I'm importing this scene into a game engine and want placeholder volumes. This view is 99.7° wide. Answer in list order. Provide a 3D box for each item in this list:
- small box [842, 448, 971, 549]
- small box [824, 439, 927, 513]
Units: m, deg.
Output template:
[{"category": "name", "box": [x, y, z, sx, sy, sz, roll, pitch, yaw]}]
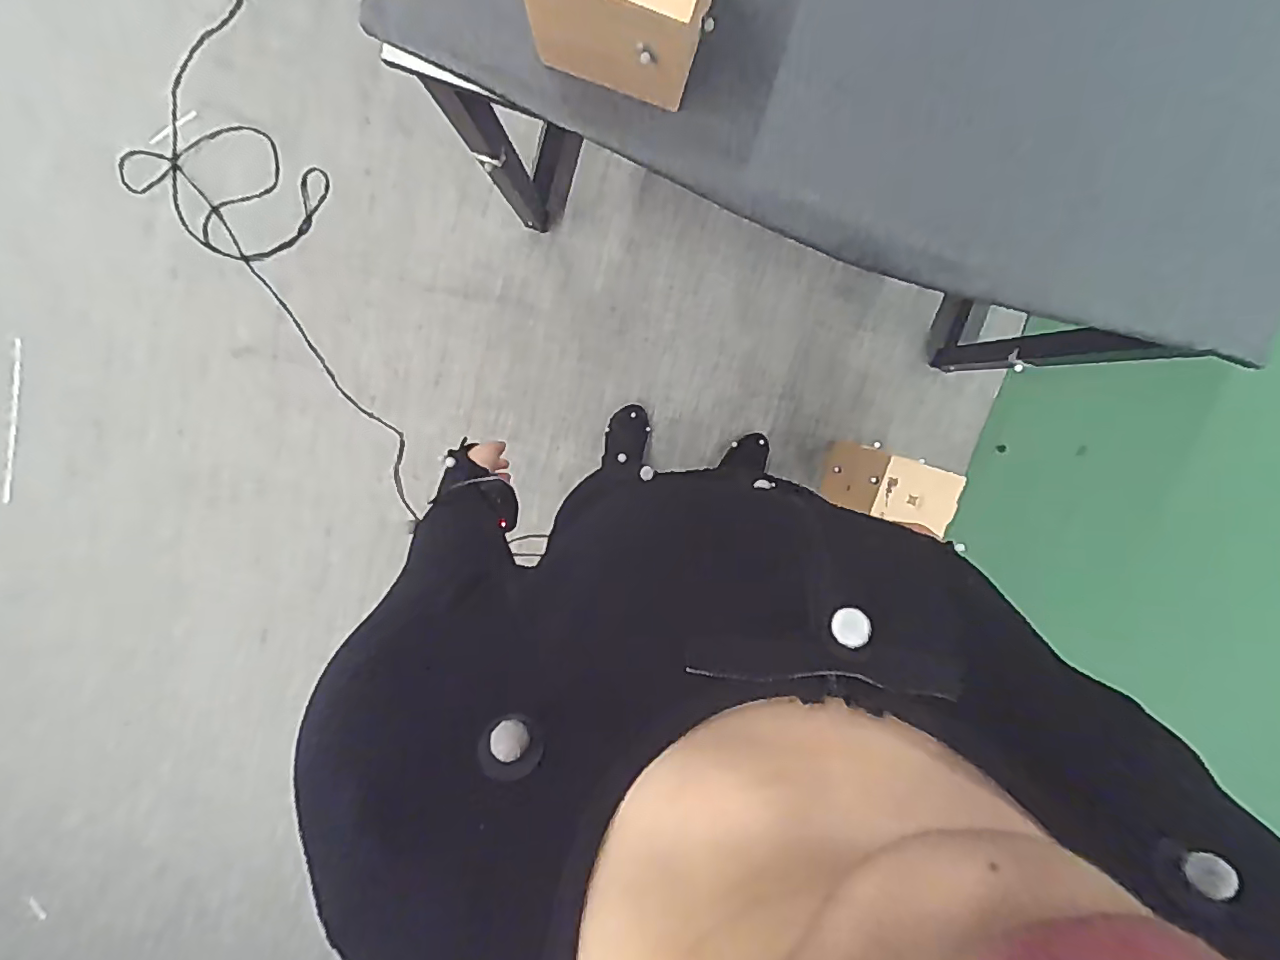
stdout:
[{"category": "small box", "box": [0.596, 0.034, 1.232, 0.179, 0.176, 0.168, 18, 100, -3]}, {"category": "small box", "box": [0.595, 0.002, 1.394, 0.168, 0.176, 0.179, 16, 99, -2]}]
